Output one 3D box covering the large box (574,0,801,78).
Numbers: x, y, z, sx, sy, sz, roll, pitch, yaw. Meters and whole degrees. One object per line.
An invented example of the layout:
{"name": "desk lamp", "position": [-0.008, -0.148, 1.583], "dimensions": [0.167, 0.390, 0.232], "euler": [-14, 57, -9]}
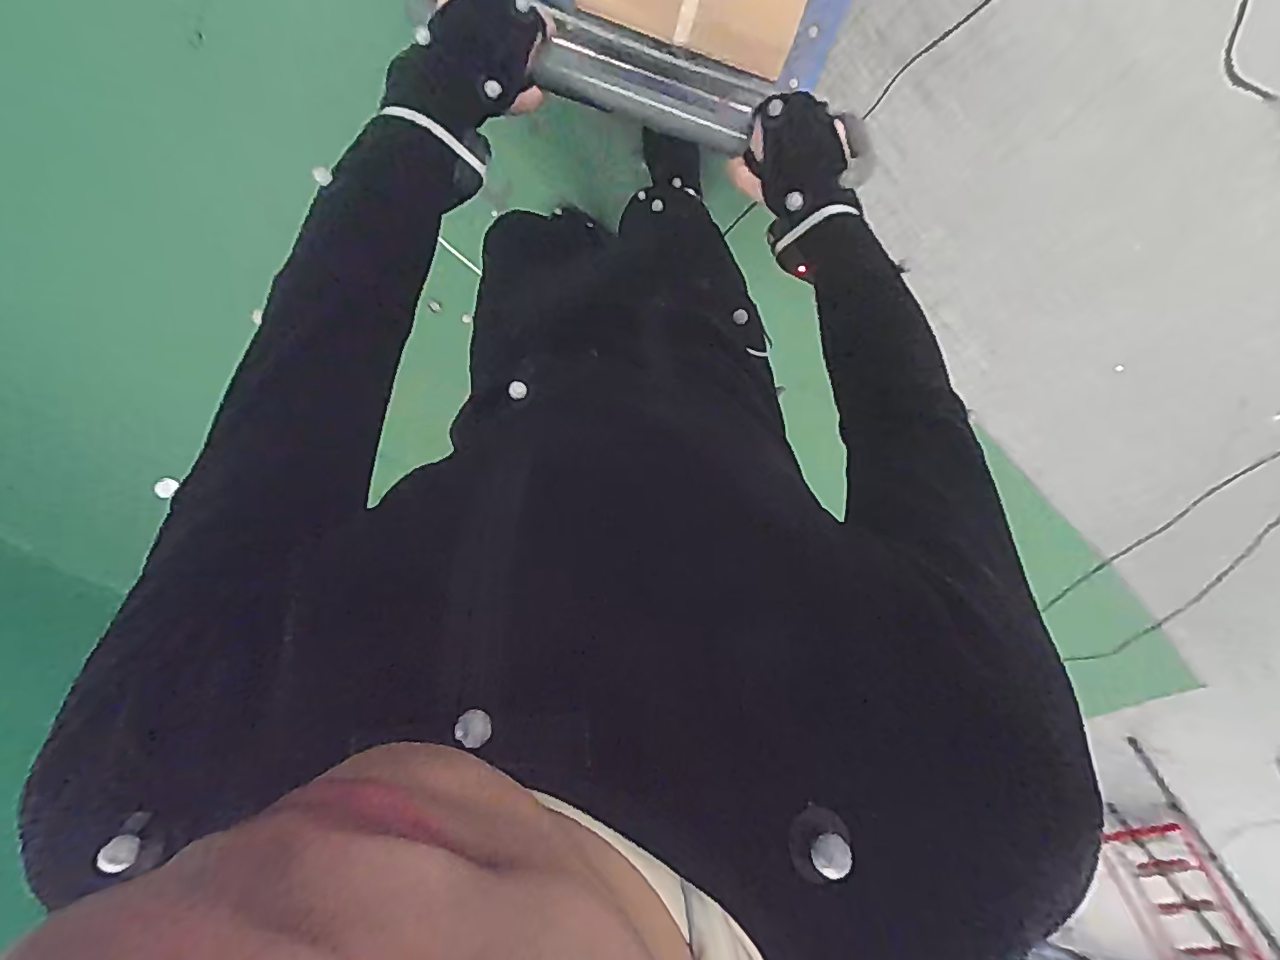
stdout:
{"name": "large box", "position": [0.114, -0.872, 0.786], "dimensions": [0.320, 0.320, 0.408], "euler": [15, 128, -7]}
